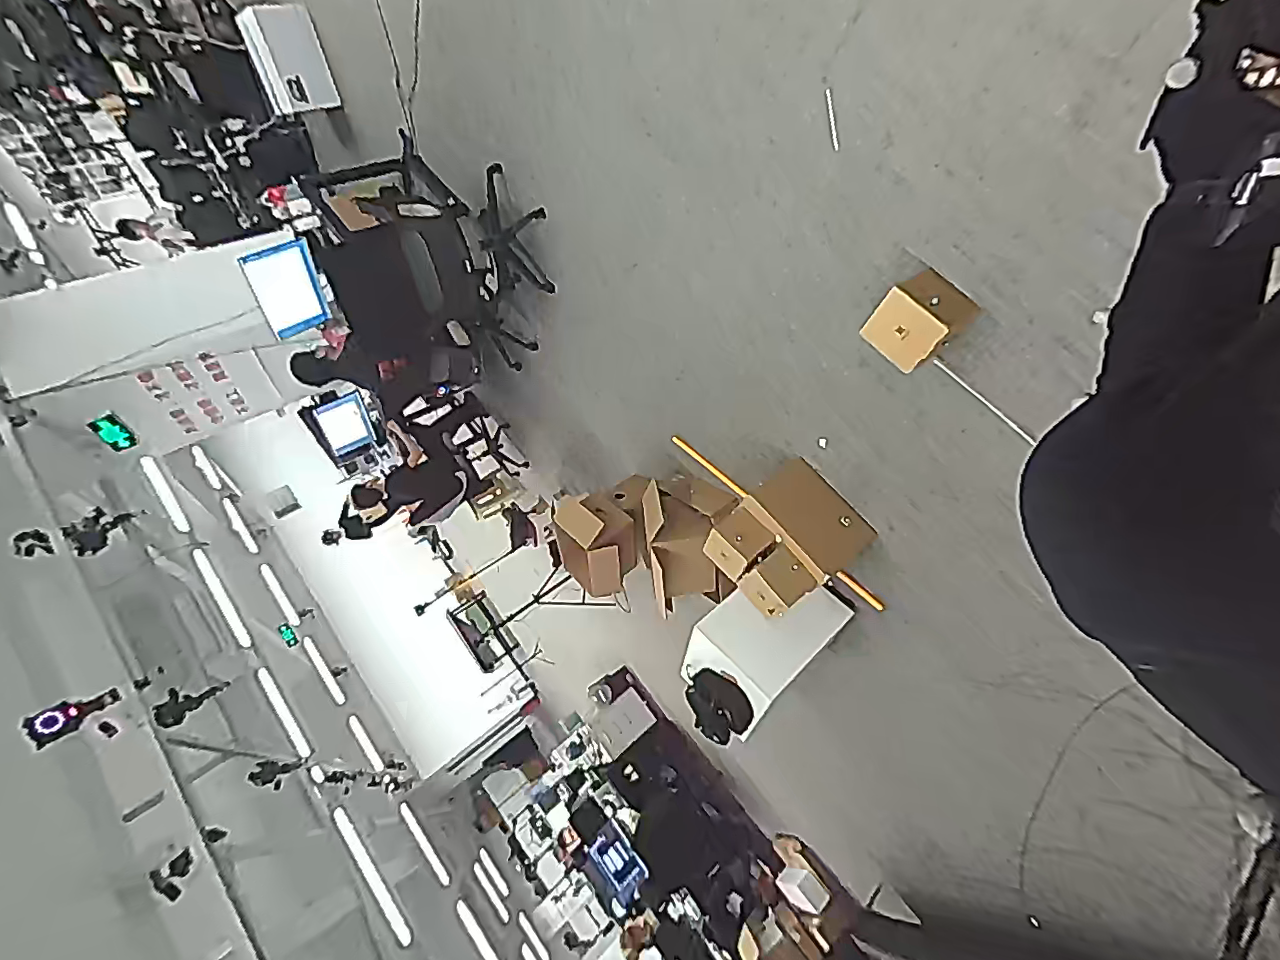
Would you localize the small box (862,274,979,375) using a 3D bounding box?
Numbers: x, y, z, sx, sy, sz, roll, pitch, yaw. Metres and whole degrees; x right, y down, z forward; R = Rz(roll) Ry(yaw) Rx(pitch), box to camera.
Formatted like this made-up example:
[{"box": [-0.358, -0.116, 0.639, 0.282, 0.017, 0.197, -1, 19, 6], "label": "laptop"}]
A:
[{"box": [0.732, -0.414, 1.415, 0.179, 0.176, 0.168, 47, 150, 16], "label": "small box"}]
